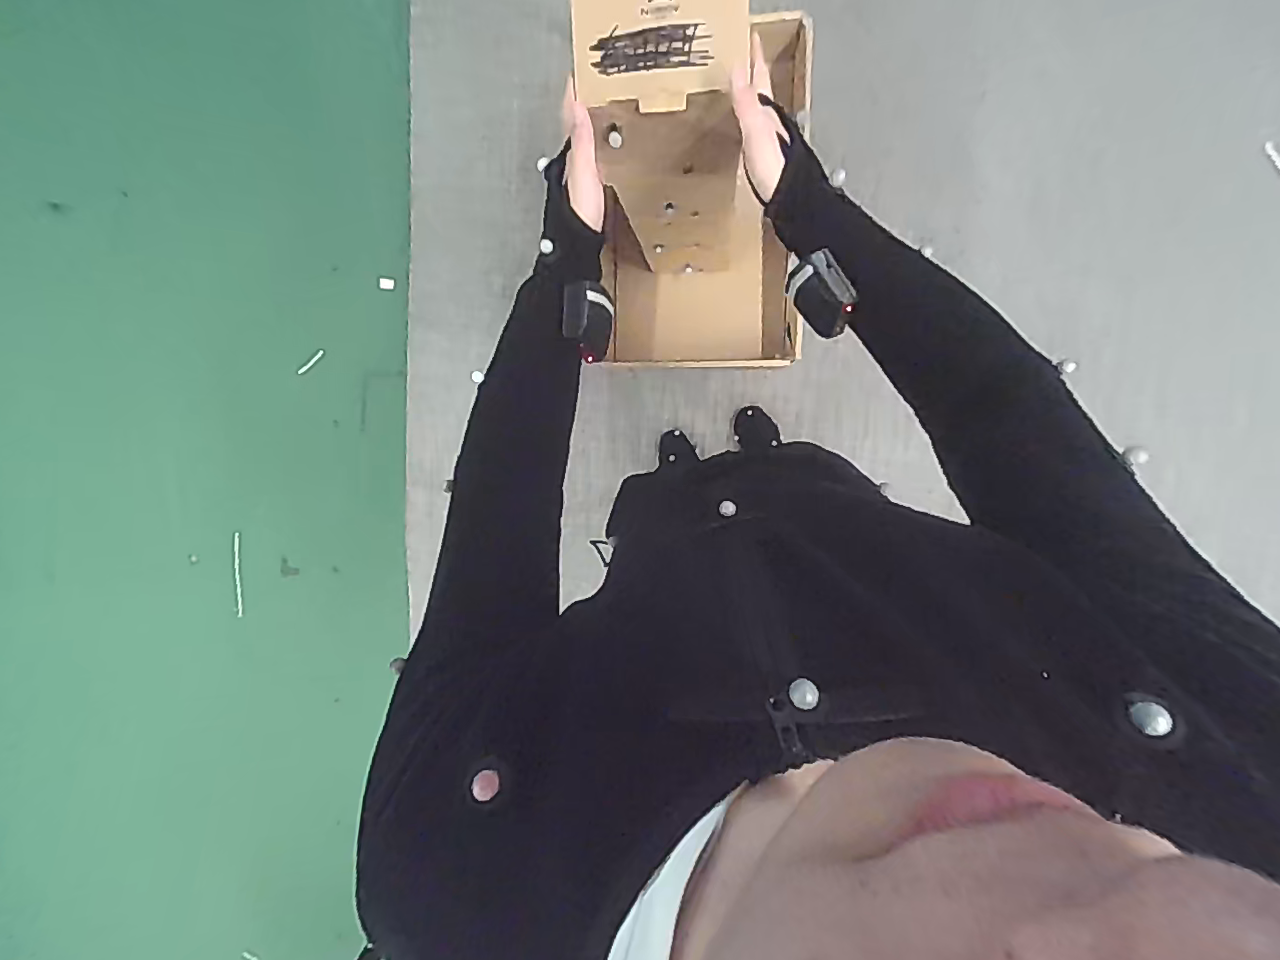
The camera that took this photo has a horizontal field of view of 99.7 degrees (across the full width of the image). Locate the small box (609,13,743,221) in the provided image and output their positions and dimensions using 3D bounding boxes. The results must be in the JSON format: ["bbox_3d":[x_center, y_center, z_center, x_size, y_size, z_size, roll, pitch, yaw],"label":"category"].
[{"bbox_3d":[0.054,-0.481,0.743,0.168,0.176,0.179,-1,97,8],"label":"small box"}]

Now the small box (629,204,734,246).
[{"bbox_3d":[0.074,-0.504,0.903,0.168,0.176,0.179,0,96,8],"label":"small box"}]

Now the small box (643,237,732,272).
[{"bbox_3d":[0.099,-0.524,1.063,0.168,0.176,0.179,2,97,9],"label":"small box"}]
